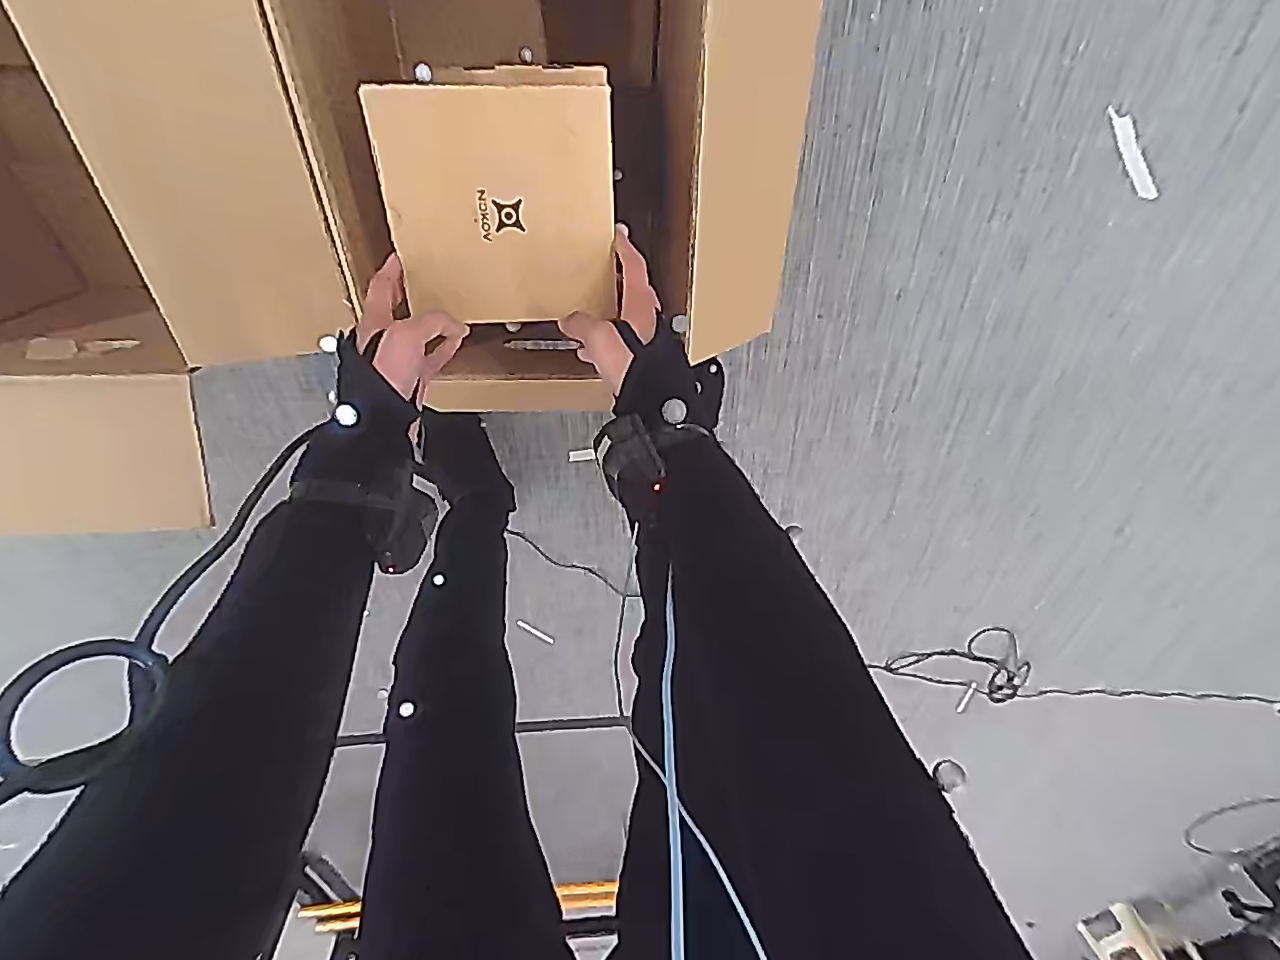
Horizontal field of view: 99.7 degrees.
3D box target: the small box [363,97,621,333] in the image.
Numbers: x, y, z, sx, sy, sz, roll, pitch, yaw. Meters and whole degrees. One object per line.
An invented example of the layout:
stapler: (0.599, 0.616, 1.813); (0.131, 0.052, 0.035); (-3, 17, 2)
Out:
small box: (-0.111, -0.239, 0.485); (0.179, 0.176, 0.168); (-3, 121, -3)
